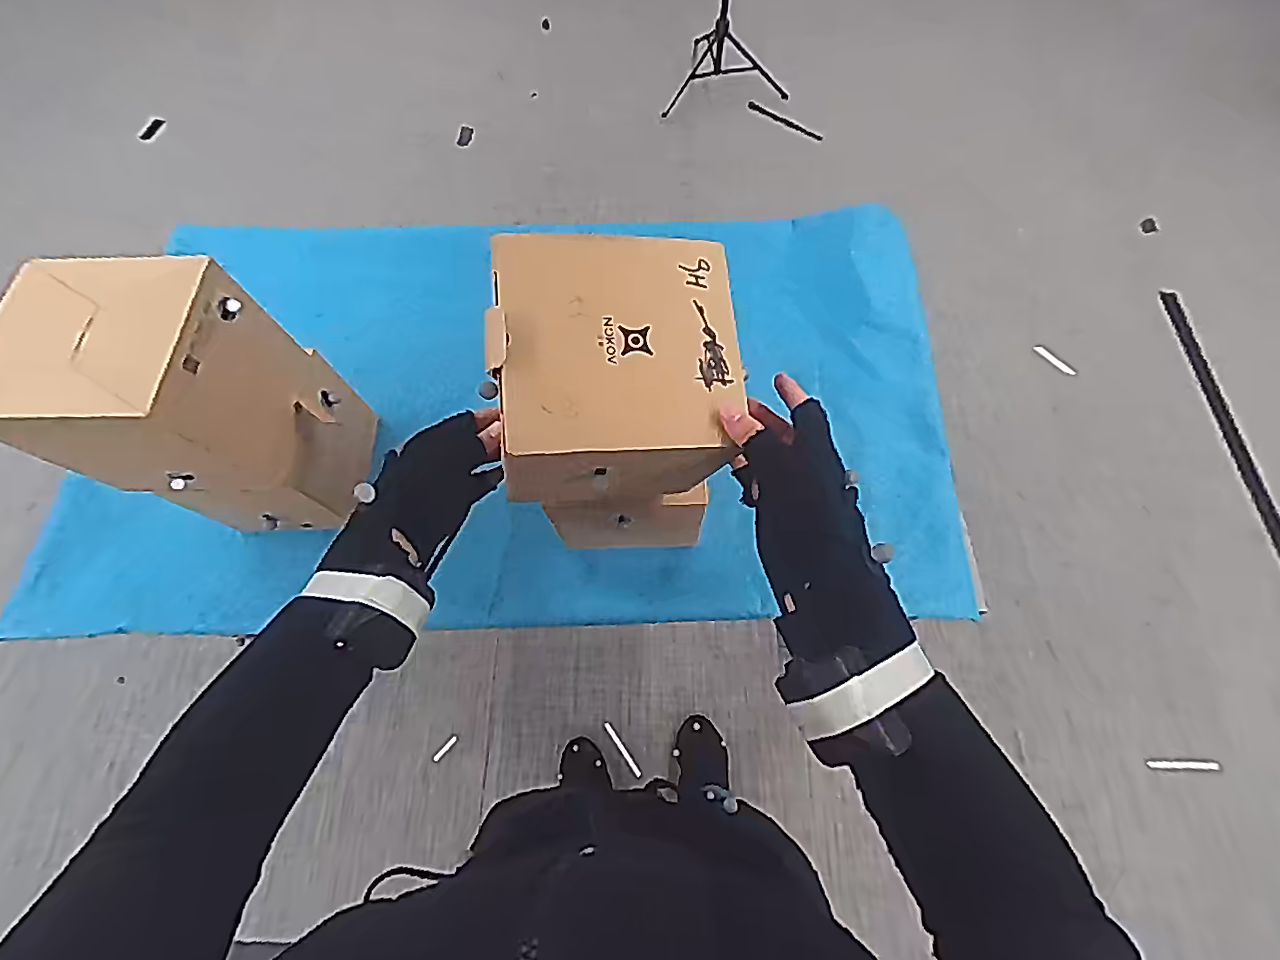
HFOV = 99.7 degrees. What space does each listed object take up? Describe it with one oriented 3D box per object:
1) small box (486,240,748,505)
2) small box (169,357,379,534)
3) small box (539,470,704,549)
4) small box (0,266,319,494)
[{"bbox_3d":[-0.030,-0.078,0.462,0.179,0.176,0.168,-4,76,-12],"label":"small box"},{"bbox_3d":[-0.464,-0.039,0.694,0.168,0.176,0.179,1,69,4],"label":"small box"},{"bbox_3d":[-0.016,-0.014,0.665,0.179,0.176,0.168,-1,68,2],"label":"small box"},{"bbox_3d":[-0.467,-0.091,0.536,0.179,0.176,0.168,0,68,2],"label":"small box"}]
